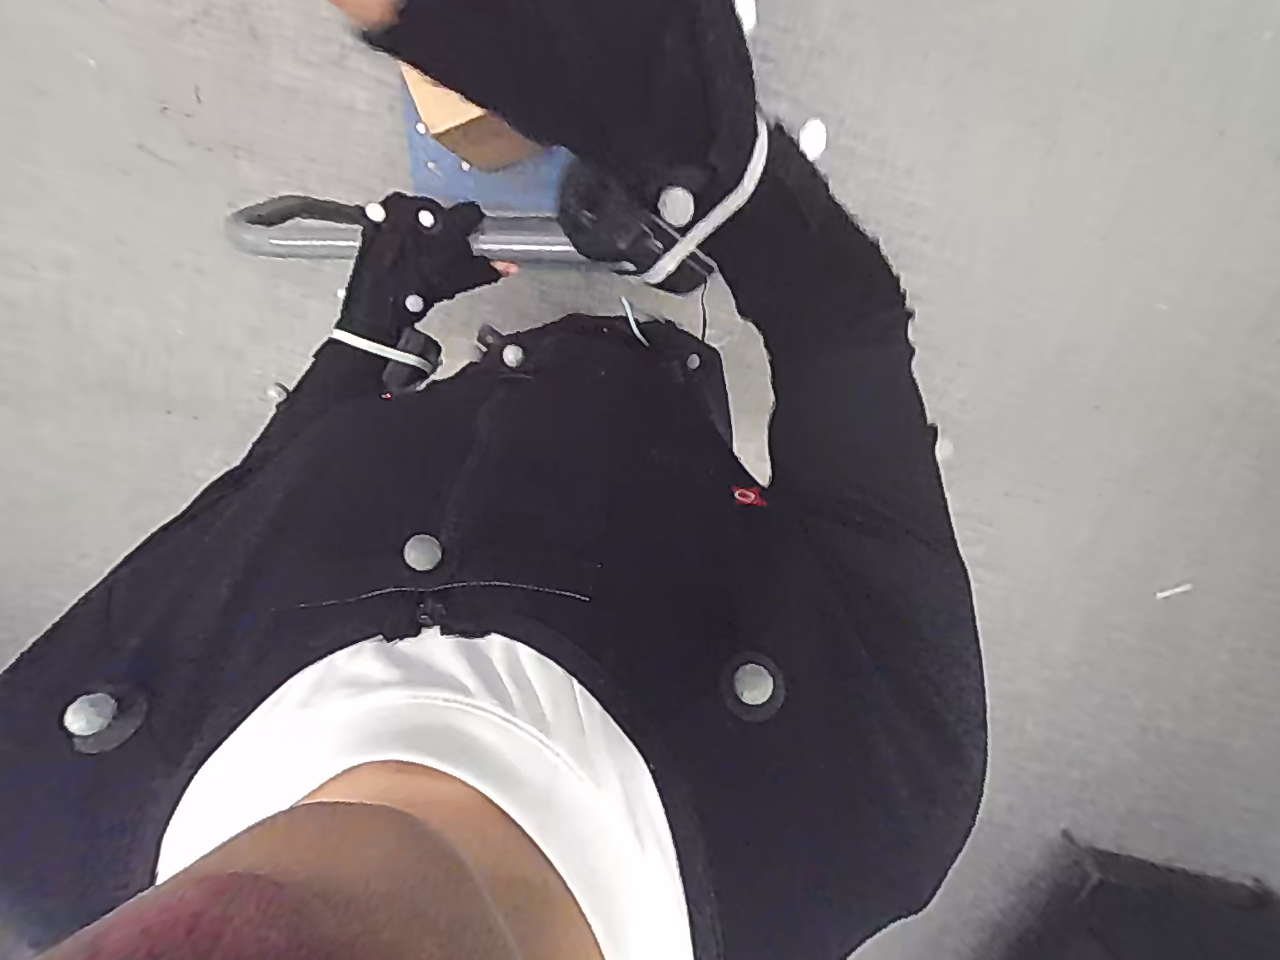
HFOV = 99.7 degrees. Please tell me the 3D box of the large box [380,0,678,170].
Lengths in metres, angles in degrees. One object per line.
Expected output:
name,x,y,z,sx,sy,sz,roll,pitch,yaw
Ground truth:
large box,-0.176,-0.783,0.906,0.408,0.320,0.320,-18,108,8
